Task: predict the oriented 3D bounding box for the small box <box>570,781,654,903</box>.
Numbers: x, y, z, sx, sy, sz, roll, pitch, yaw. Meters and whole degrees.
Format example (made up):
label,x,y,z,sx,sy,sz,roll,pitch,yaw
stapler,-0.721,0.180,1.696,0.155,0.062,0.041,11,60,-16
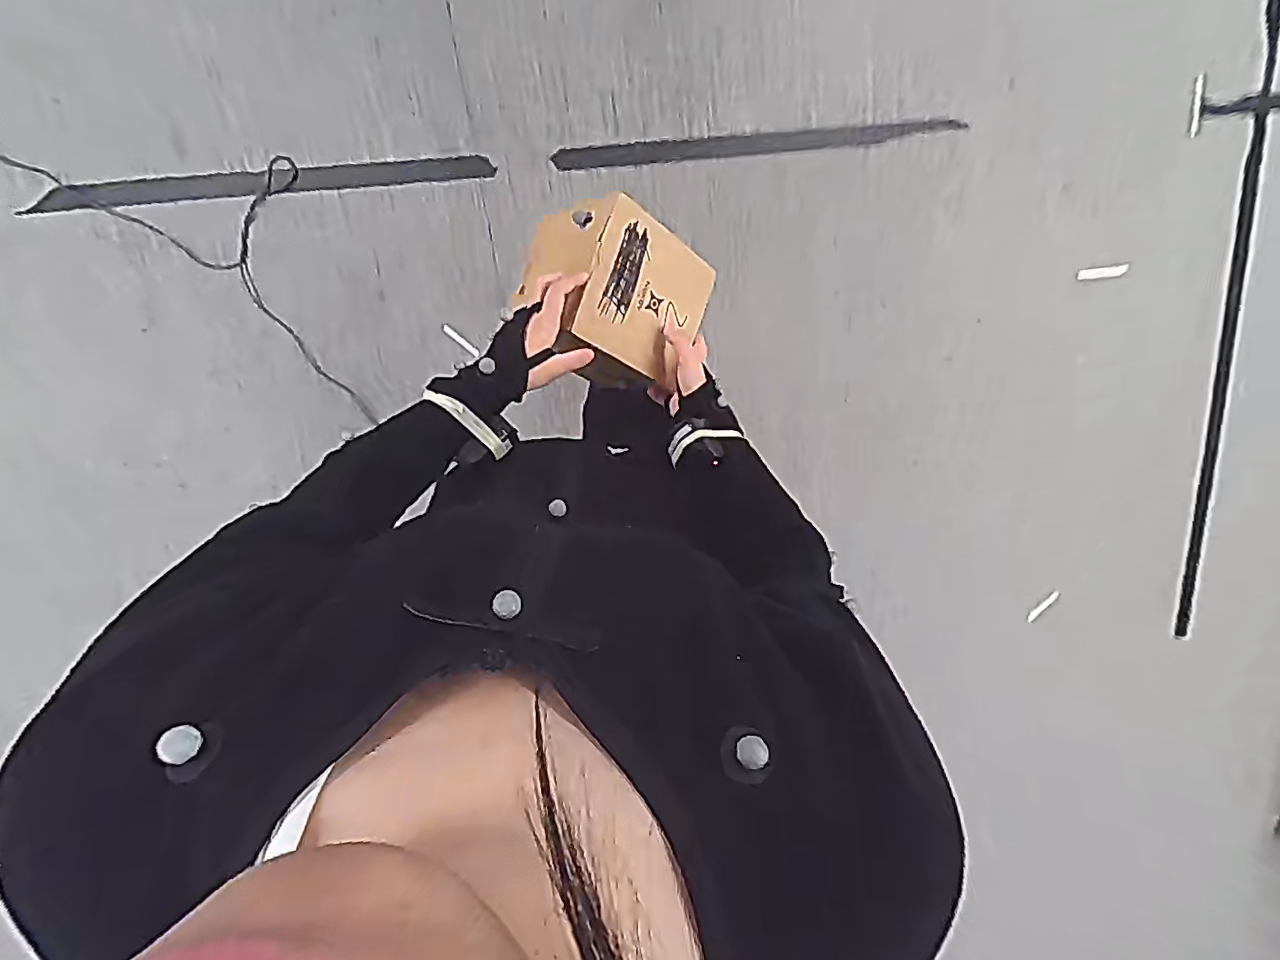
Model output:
label,x,y,z,sx,sy,sz,roll,pitch,yaw
small box,-0.071,0.858,1.299,0.179,0.176,0.168,-9,103,-4
